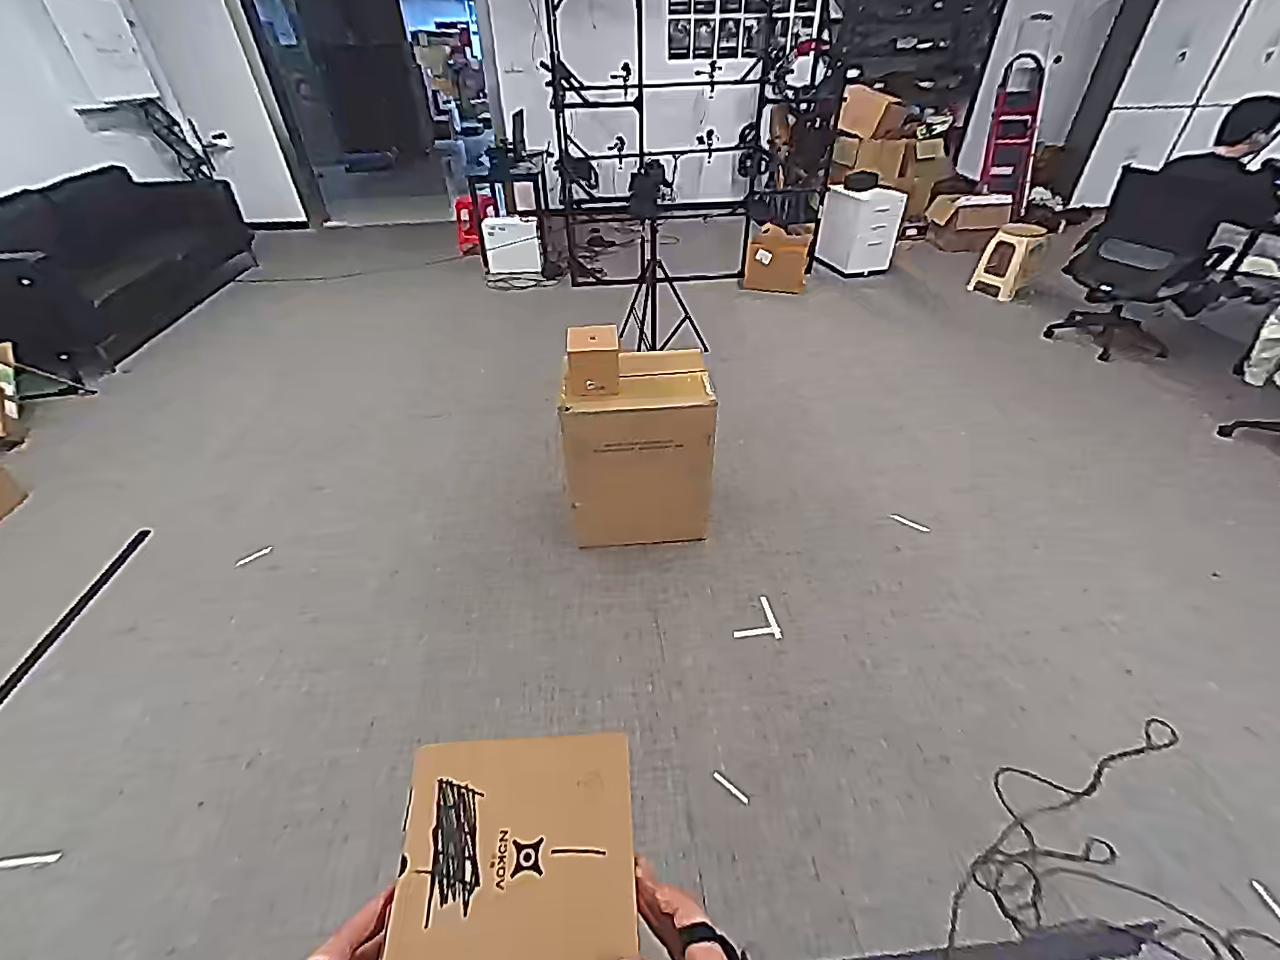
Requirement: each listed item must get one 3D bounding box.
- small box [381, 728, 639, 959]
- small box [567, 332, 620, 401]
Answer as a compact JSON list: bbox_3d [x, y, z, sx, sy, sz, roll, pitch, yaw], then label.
[{"bbox_3d":[-0.092,0.329,0.464,0.179,0.176,0.168,-3,49,-4],"label":"small box"},{"bbox_3d":[-0.155,-0.383,1.827,0.168,0.176,0.179,-4,42,-3],"label":"small box"}]
